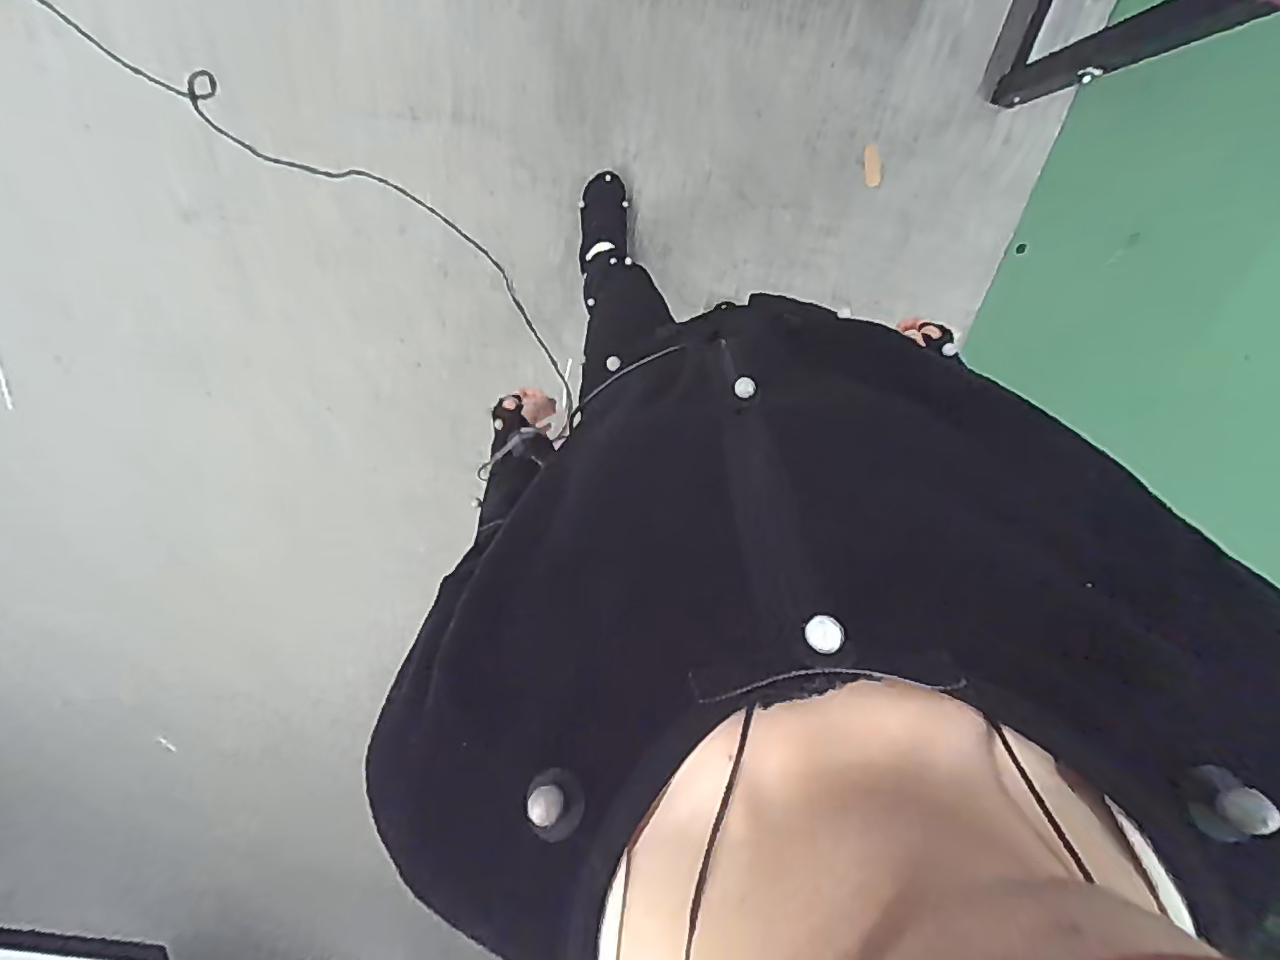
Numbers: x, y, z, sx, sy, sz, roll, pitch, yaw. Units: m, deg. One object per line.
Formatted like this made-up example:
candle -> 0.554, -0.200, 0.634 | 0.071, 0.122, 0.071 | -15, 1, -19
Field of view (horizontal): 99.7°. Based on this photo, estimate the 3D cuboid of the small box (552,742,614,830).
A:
small box -> -0.178, 0.965, 1.713 | 0.168, 0.176, 0.179 | 10, 114, -3
